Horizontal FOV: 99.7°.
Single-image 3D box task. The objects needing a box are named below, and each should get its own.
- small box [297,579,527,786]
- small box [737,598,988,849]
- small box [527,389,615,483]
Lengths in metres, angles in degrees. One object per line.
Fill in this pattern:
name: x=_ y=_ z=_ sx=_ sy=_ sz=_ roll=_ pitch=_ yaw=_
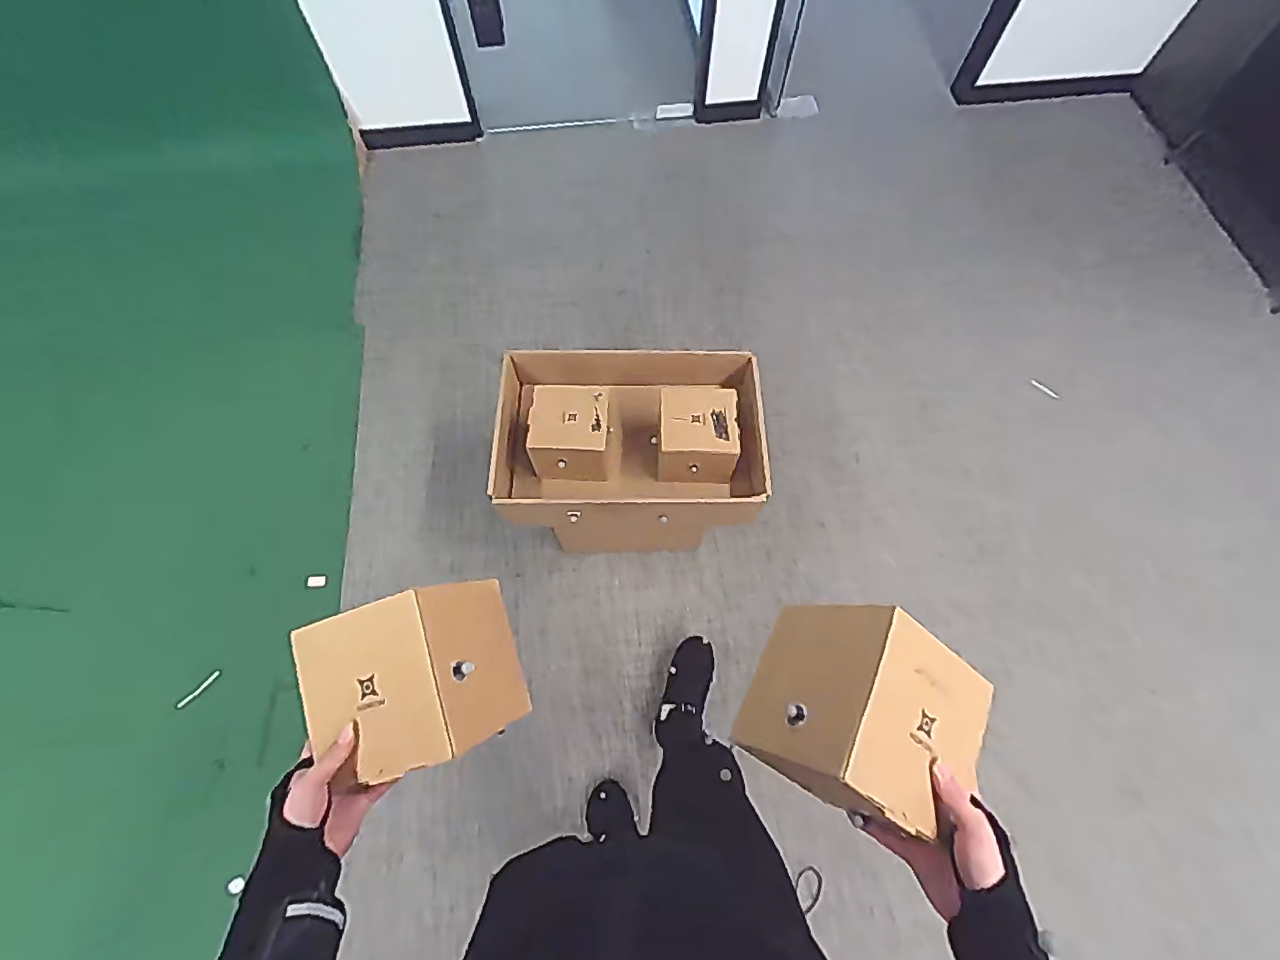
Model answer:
small box: x=-0.258 y=0.223 z=0.640 sx=0.168 sy=0.176 sz=0.179 roll=-21 pitch=79 yaw=12
small box: x=0.232 y=0.248 z=0.591 sx=0.168 sy=0.176 sz=0.179 roll=38 pitch=64 yaw=-14
small box: x=-0.156 y=-0.101 z=1.284 sx=0.179 sy=0.176 sz=0.168 roll=2 pitch=65 yaw=2
